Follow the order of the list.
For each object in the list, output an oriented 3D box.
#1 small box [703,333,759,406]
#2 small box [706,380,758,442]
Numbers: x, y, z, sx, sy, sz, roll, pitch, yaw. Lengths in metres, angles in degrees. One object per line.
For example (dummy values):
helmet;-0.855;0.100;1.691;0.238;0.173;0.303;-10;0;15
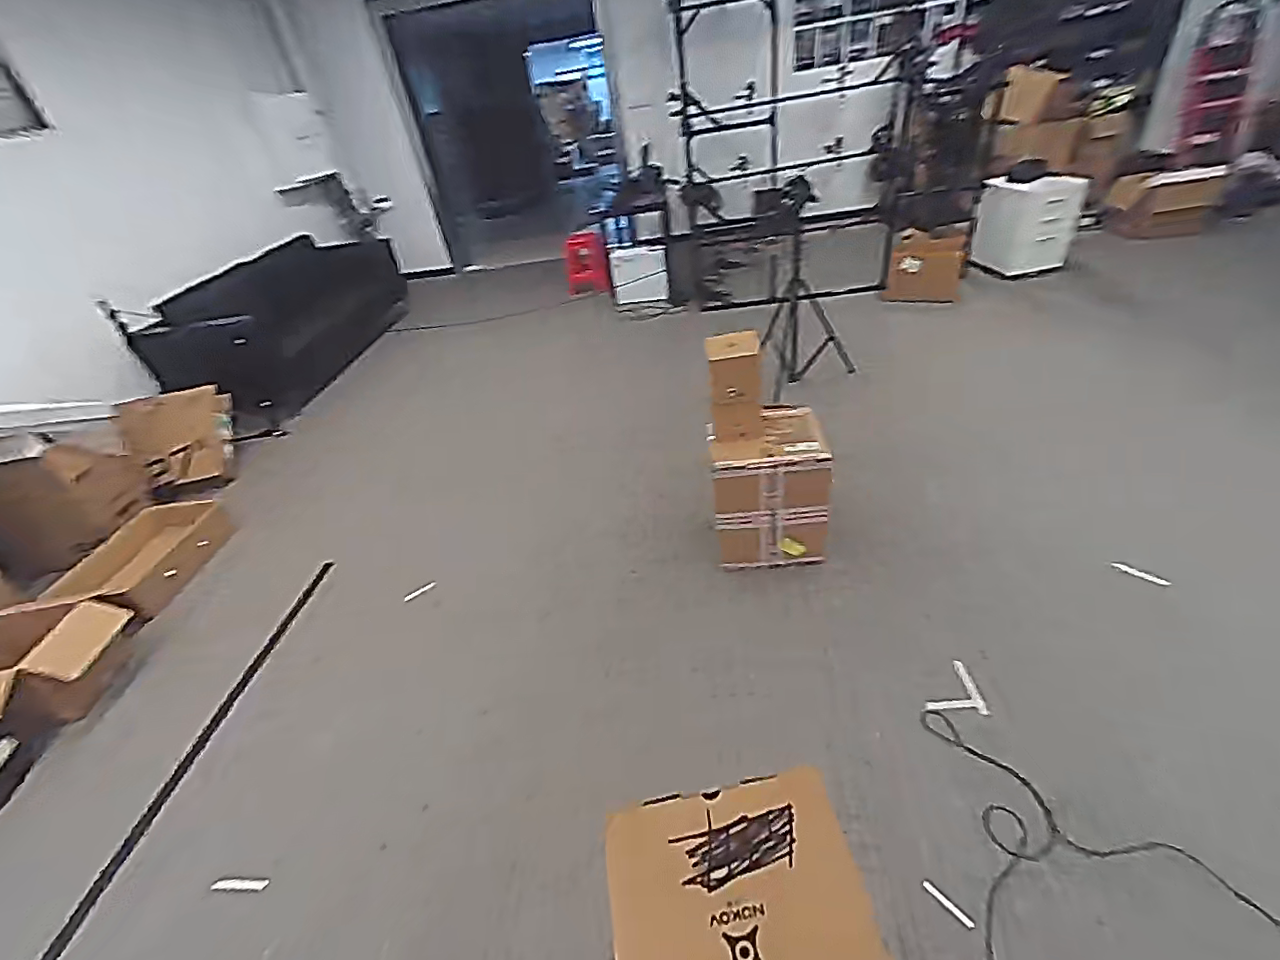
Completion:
small box;0.304;-0.370;1.811;0.168;0.176;0.179;-7;39;7
small box;0.326;-0.256;1.927;0.168;0.176;0.179;-7;38;7
